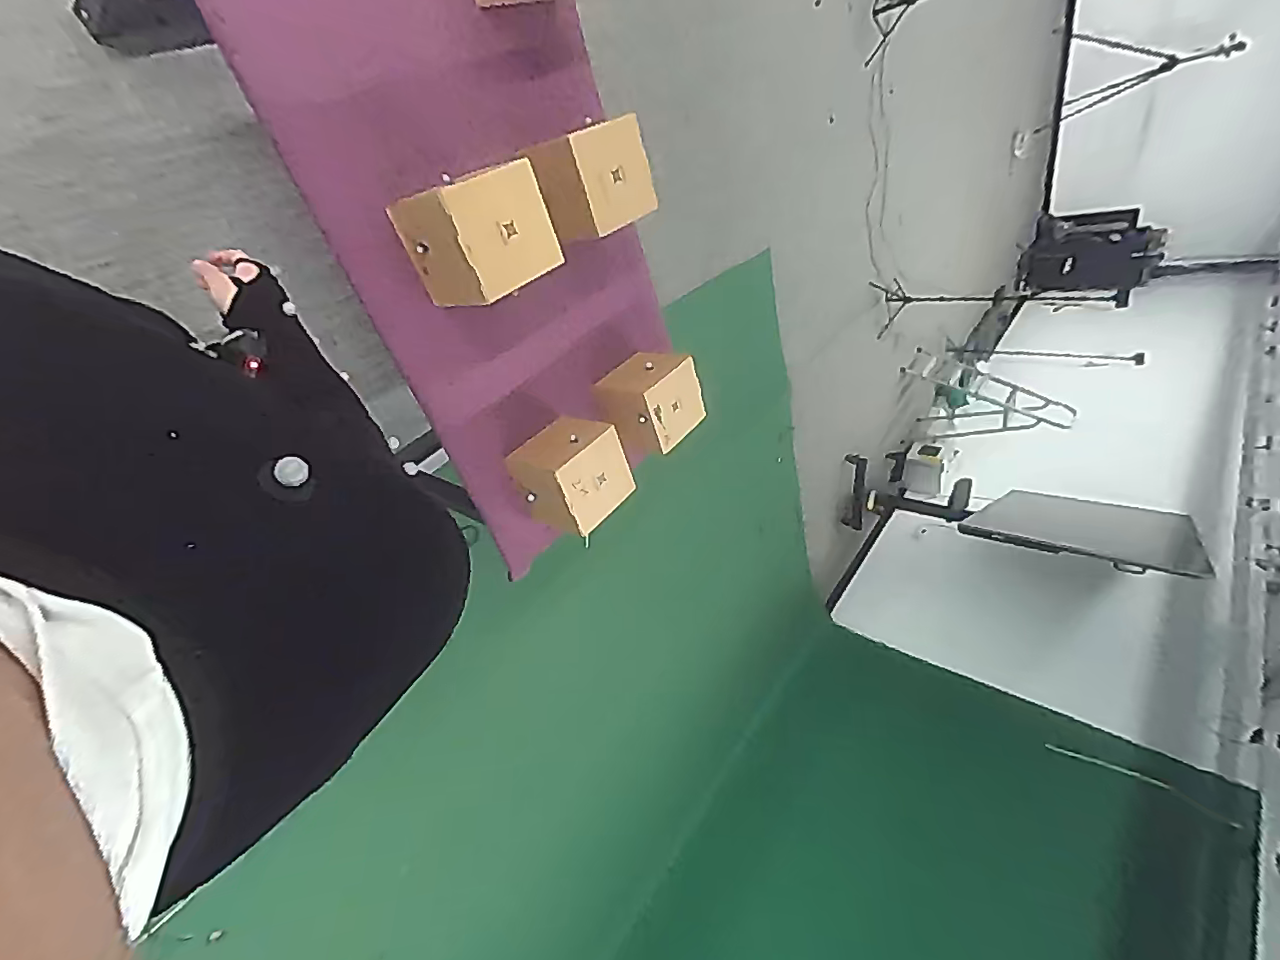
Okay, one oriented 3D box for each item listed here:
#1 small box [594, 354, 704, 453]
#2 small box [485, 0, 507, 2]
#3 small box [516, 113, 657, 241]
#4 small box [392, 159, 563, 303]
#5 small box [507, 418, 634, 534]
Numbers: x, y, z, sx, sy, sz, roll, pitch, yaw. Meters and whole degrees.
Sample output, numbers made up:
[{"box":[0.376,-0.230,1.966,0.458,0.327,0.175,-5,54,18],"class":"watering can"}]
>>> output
[{"box":[0.022,-0.189,1.279,0.179,0.176,0.168,-44,130,-31],"class":"small box"},{"box":[-0.174,-0.877,0.838,0.179,0.176,0.168,-40,130,-32],"class":"small box"},{"box":[-0.100,-0.568,1.025,0.179,0.176,0.168,-42,129,-31],"class":"small box"},{"box":[-0.265,-0.406,0.891,0.179,0.176,0.168,-44,131,-31],"class":"small box"},{"box":[-0.145,-0.017,1.140,0.179,0.176,0.168,-42,128,-33],"class":"small box"}]
